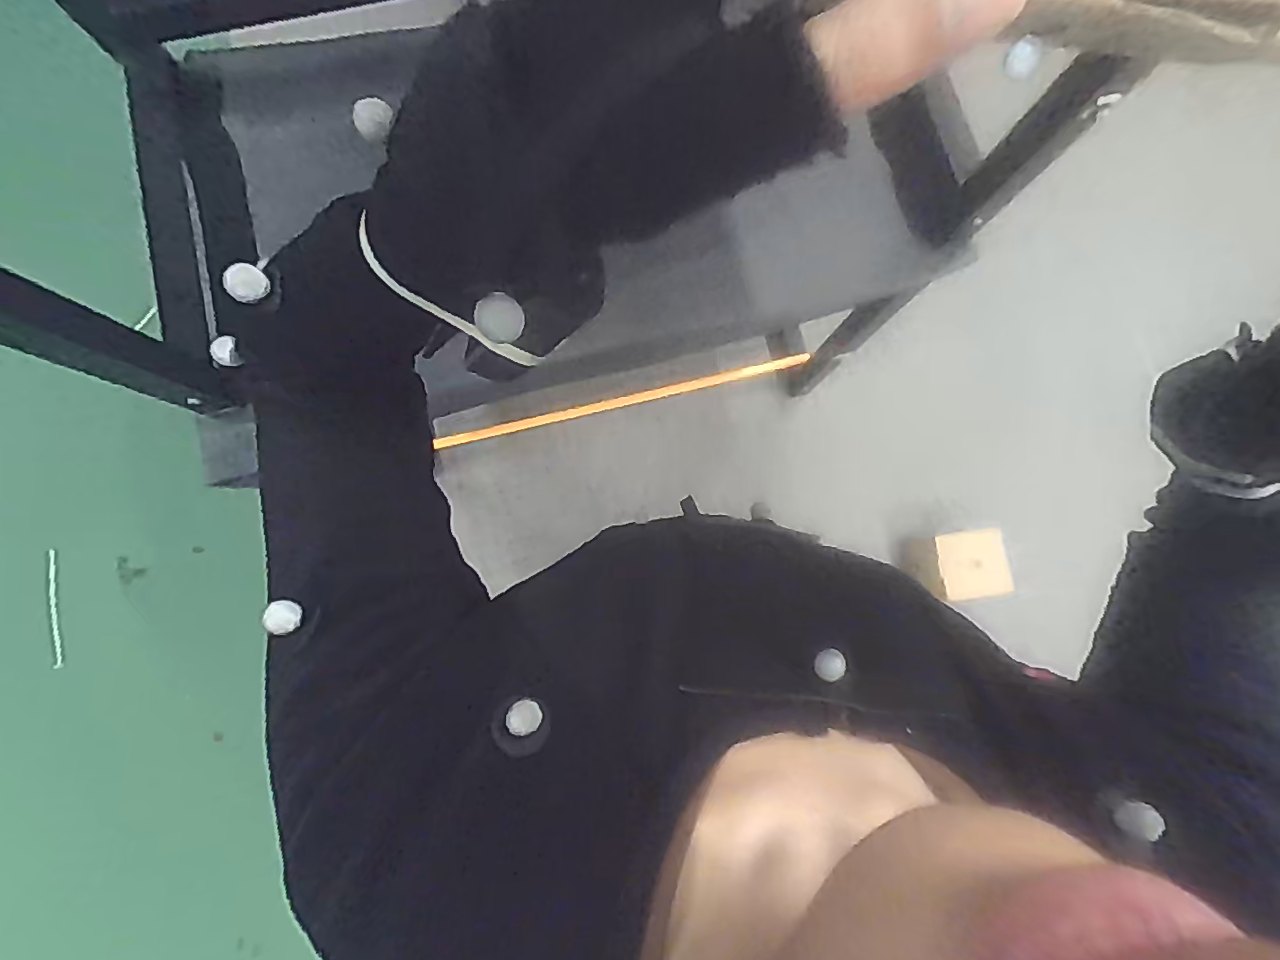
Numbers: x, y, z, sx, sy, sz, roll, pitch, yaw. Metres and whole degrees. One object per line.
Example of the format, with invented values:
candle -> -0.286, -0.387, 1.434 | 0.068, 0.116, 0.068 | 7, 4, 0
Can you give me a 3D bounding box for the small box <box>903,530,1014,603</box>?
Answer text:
small box -> 0.836, 0.227, 1.434 | 0.179, 0.176, 0.168 | -8, 81, -2
